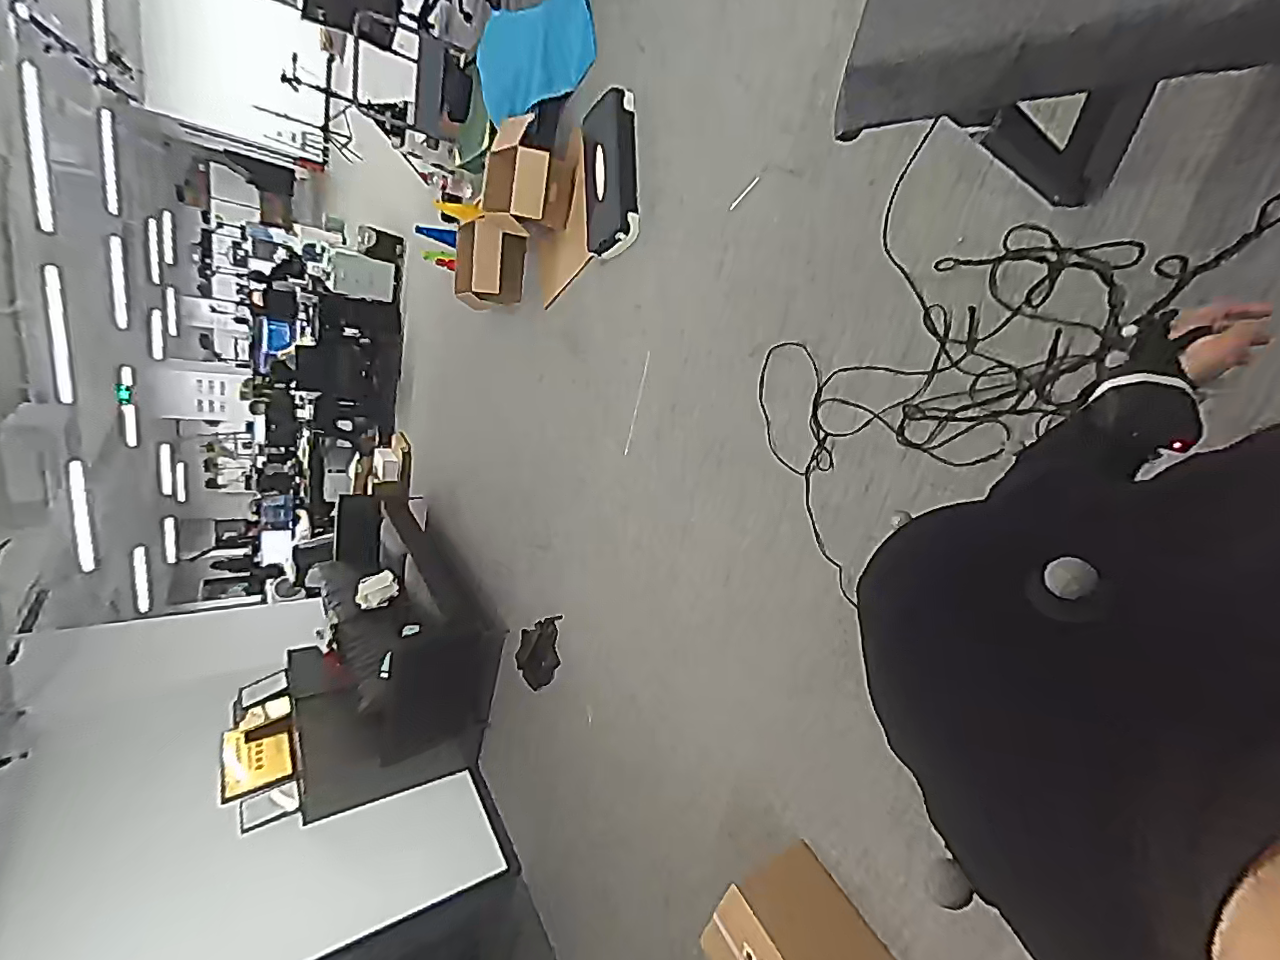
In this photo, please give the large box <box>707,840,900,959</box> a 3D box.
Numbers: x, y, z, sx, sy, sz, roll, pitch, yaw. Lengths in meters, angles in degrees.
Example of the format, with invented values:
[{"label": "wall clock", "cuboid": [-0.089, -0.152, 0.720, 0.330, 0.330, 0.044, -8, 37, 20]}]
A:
[{"label": "large box", "cuboid": [0.465, 1.353, 1.533, 0.408, 0.320, 0.320, 43, 124, 45]}]
